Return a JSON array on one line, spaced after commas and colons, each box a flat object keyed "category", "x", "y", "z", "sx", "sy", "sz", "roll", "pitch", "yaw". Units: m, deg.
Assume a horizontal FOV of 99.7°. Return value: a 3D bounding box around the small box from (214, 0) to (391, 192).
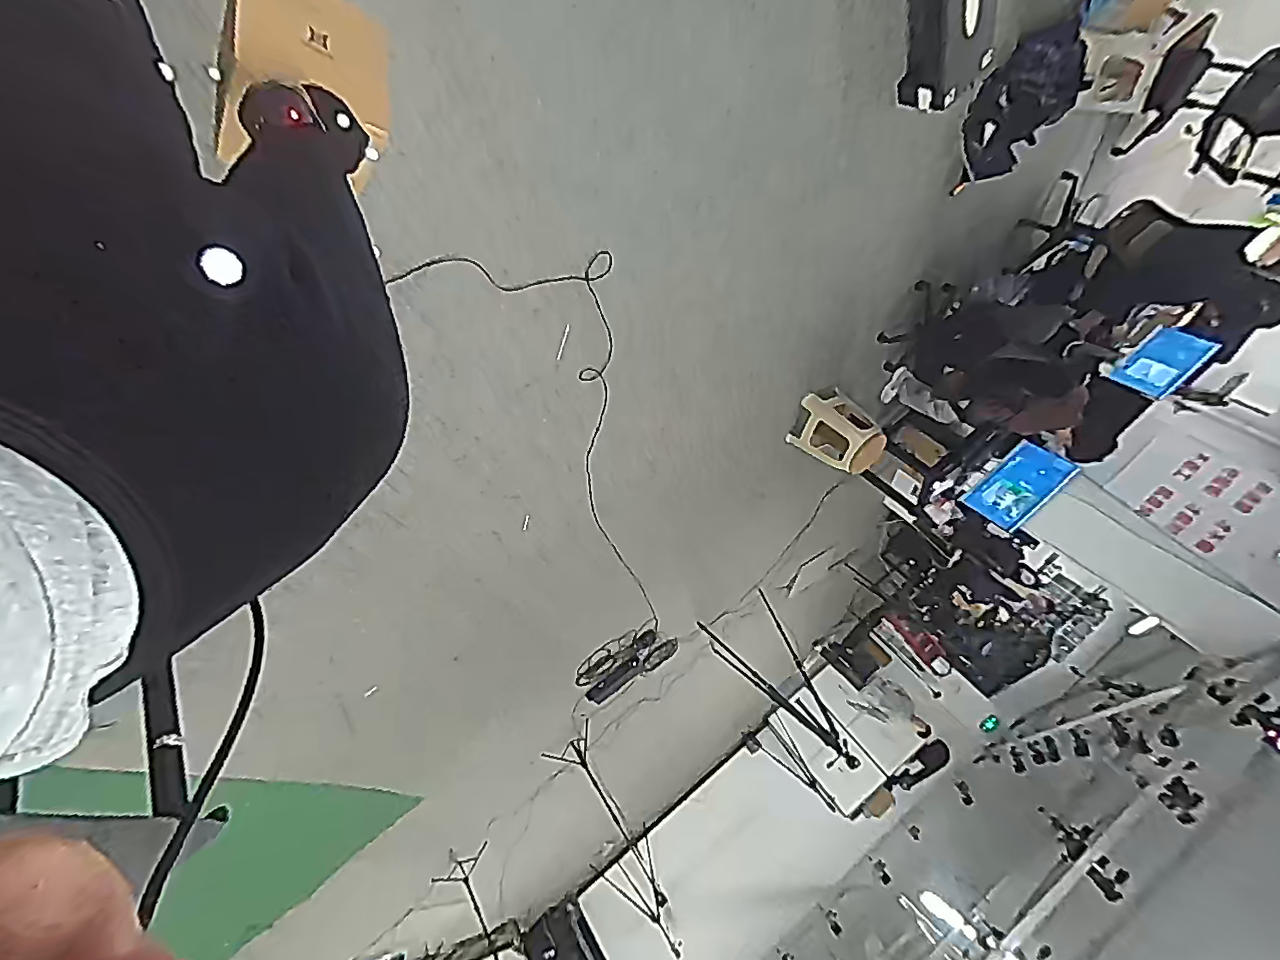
[{"category": "small box", "x": -0.439, "y": -0.520, "z": 0.705, "sx": 0.168, "sy": 0.179, "sz": 0.176, "roll": 5, "pitch": 165, "yaw": -44}]
